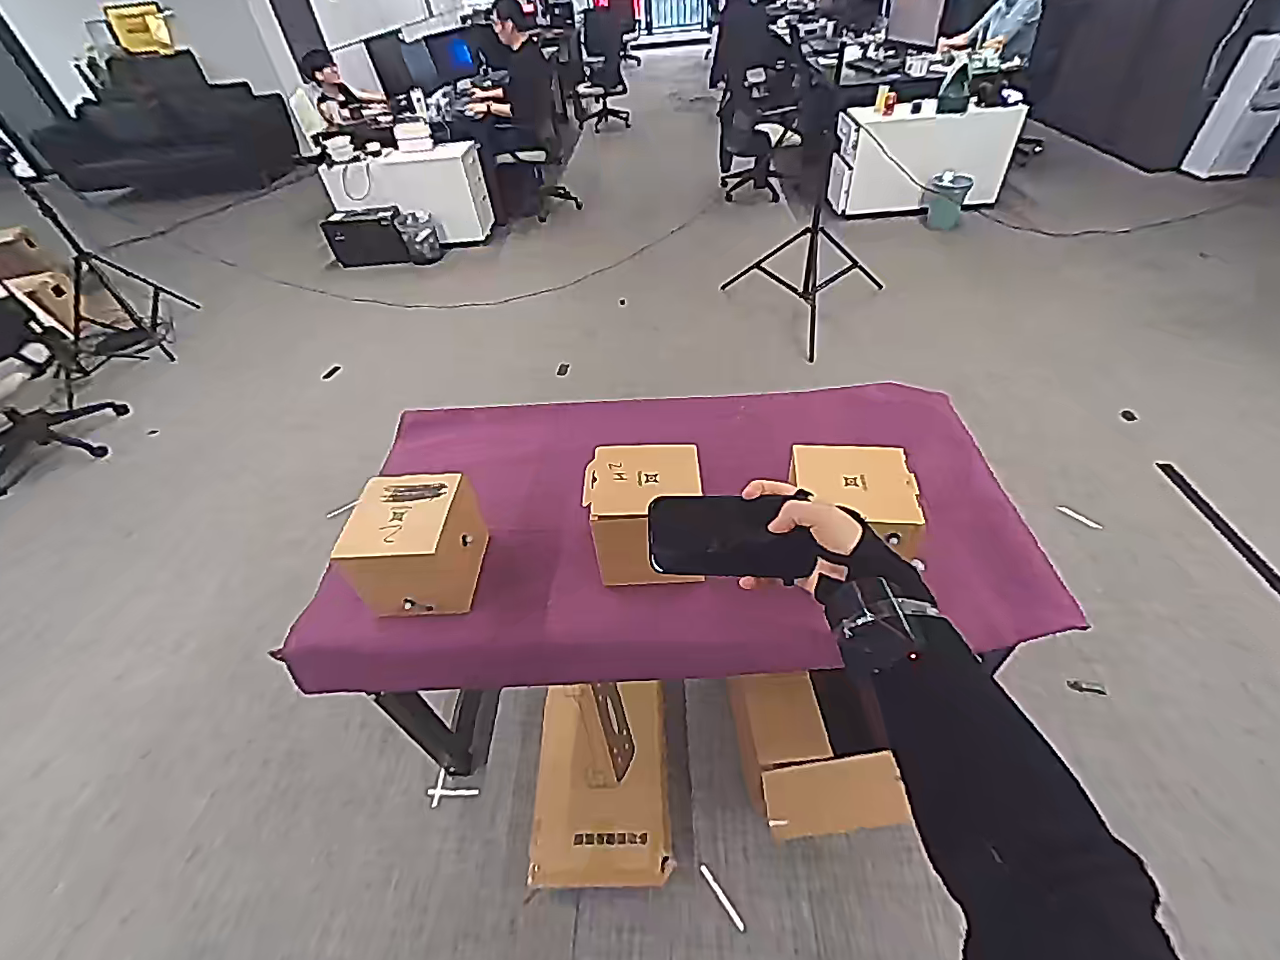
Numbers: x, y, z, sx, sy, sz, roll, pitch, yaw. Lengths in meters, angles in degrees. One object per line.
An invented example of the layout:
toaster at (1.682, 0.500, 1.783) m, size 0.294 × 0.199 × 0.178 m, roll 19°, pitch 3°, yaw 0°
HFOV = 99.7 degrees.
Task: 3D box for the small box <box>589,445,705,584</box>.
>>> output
small box at (0.016, 0.061, 0.918) m, size 0.179 × 0.176 × 0.168 m, roll -4°, pitch 42°, yaw 3°

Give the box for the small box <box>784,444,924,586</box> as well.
small box at (0.333, 0.058, 0.885) m, size 0.179 × 0.176 × 0.168 m, roll 1°, pitch 45°, yaw 8°
